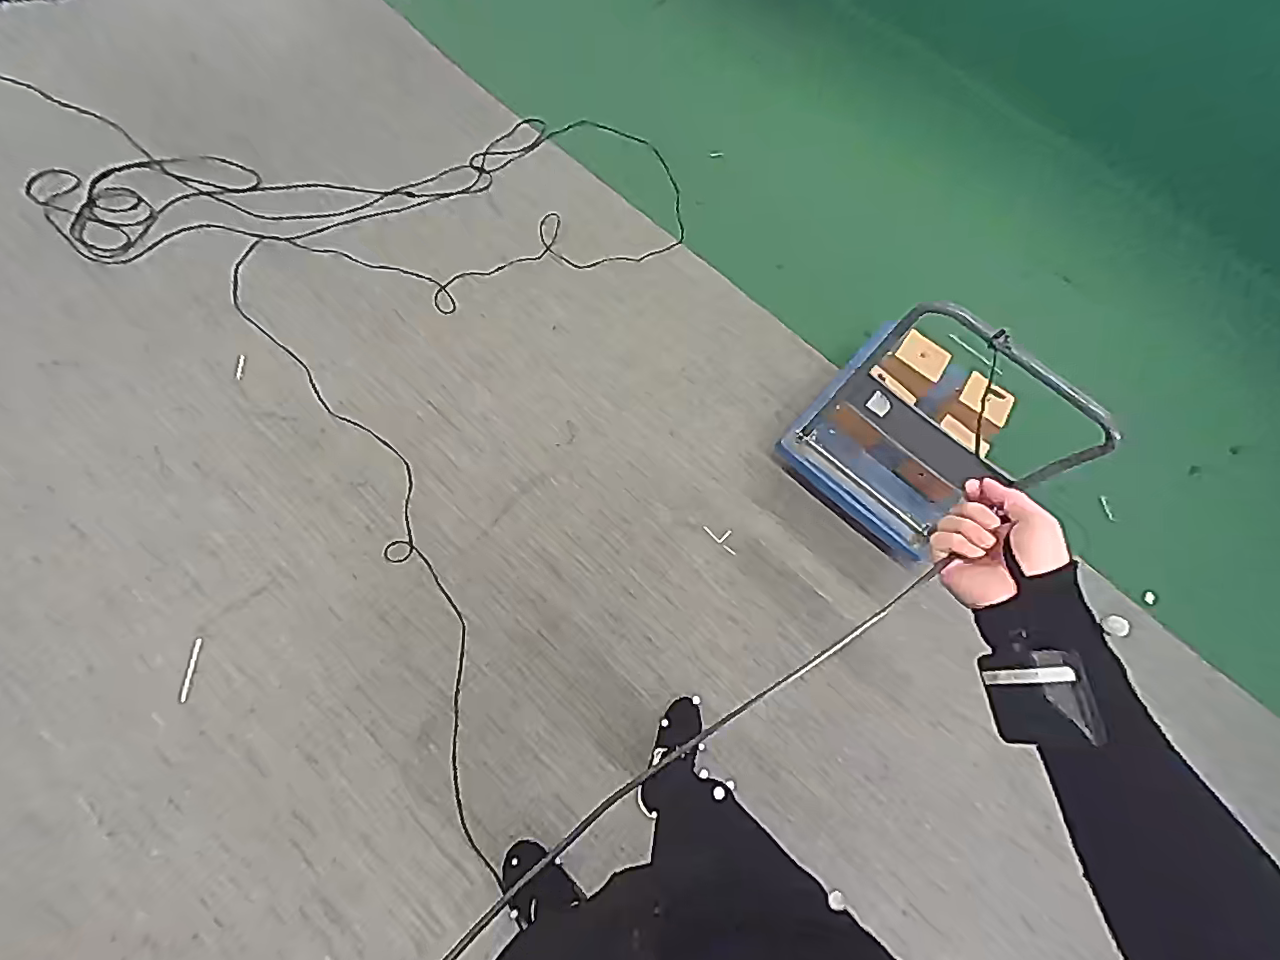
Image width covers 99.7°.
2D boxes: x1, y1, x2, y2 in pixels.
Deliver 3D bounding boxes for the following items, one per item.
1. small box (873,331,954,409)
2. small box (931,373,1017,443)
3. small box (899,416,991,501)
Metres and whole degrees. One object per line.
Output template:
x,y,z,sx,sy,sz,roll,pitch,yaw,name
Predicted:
0.957,-0.383,1.911,0.168,0.176,0.179,39,61,7,small box
1.154,-0.229,1.877,0.168,0.176,0.179,38,62,8,small box
0.980,-0.067,1.750,0.168,0.176,0.179,43,62,10,small box
